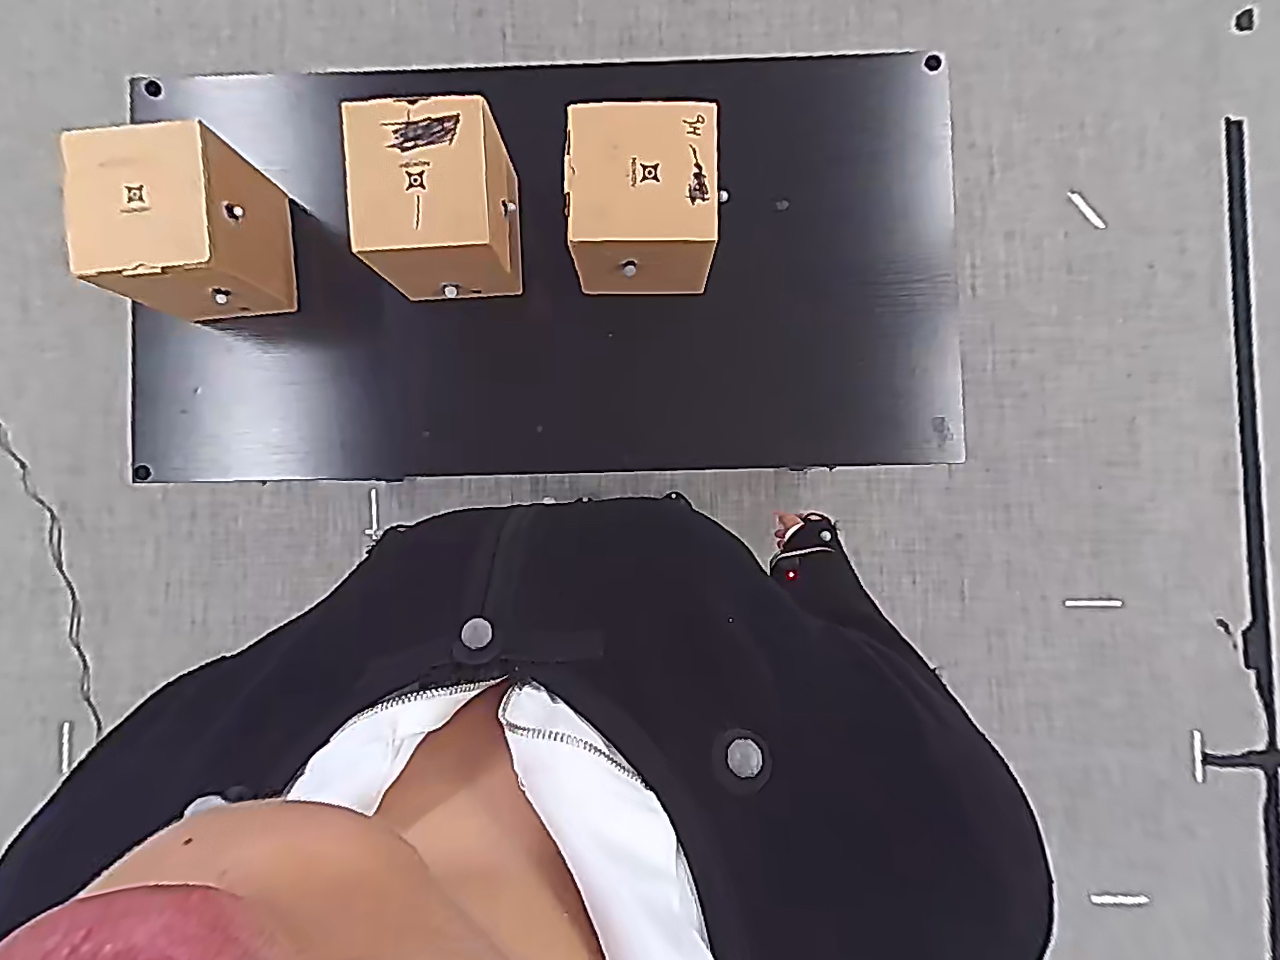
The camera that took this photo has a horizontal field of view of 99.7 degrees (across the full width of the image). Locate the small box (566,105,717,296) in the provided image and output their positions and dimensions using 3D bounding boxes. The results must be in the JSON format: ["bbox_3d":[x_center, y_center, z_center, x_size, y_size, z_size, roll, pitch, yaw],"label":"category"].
[{"bbox_3d":[0.005,-0.347,0.702,0.179,0.176,0.168,0,88,1],"label":"small box"}]

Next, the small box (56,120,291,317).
[{"bbox_3d":[-0.587,-0.323,0.704,0.168,0.176,0.179,-5,88,-1],"label":"small box"}]

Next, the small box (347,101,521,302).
[{"bbox_3d":[-0.255,-0.348,0.703,0.168,0.176,0.179,-3,89,0],"label":"small box"}]
